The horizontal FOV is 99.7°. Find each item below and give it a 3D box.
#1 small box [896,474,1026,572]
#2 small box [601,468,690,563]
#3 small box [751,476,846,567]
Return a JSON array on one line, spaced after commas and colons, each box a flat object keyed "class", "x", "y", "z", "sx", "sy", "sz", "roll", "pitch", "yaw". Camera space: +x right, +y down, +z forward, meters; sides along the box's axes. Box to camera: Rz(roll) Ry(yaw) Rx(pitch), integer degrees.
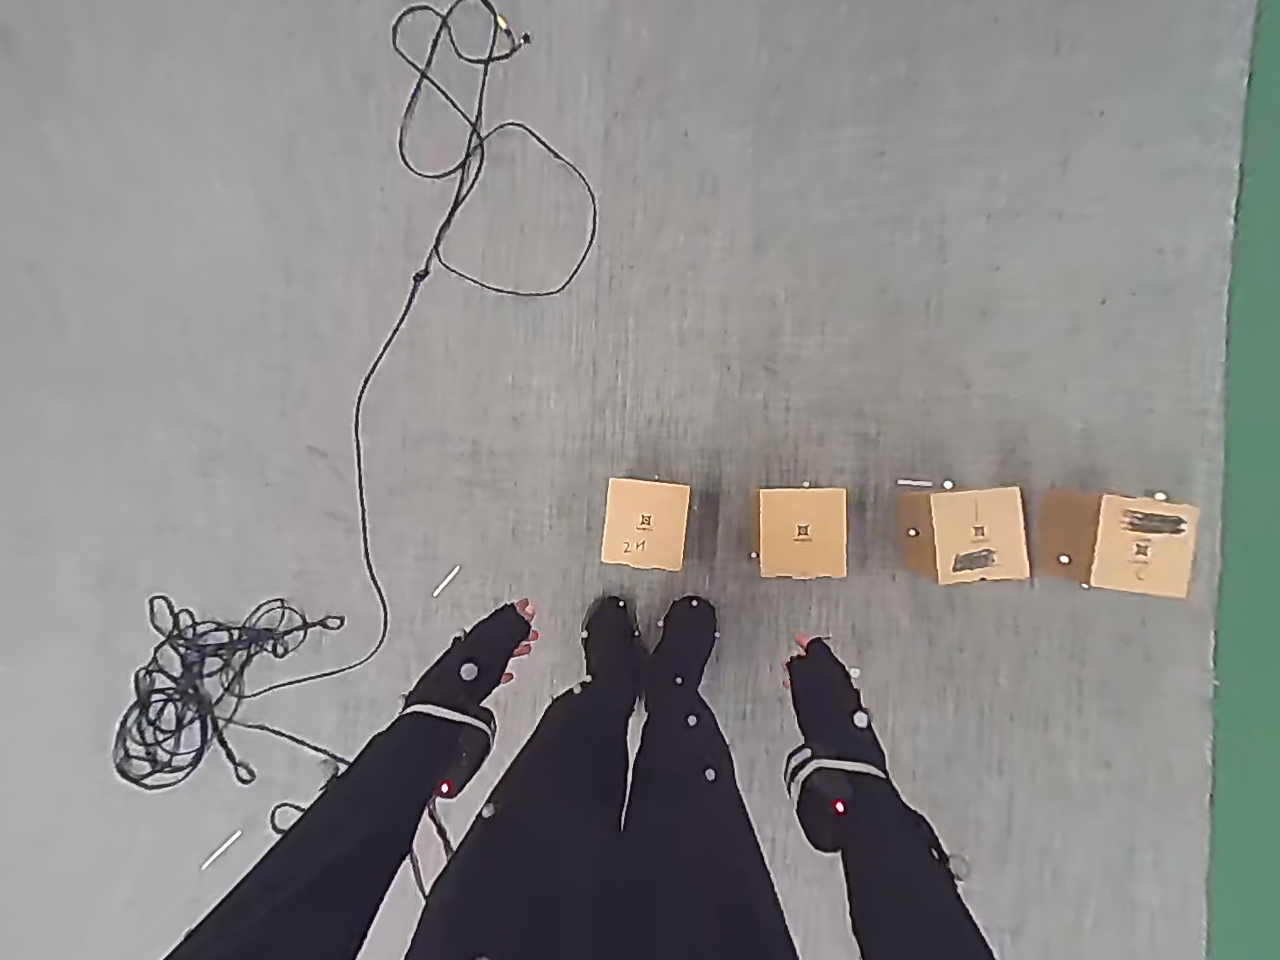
[{"class": "small box", "x": 0.638, "y": 0.081, "z": 1.093, "sx": 0.168, "sy": 0.176, "sz": 0.179, "roll": -6, "pitch": 89, "yaw": 5}, {"class": "small box", "x": 0.018, "y": 0.071, "z": 1.157, "sx": 0.168, "sy": 0.176, "sz": 0.179, "roll": 6, "pitch": 91, "yaw": 7}, {"class": "small box", "x": 0.322, "y": 0.083, "z": 1.126, "sx": 0.168, "sy": 0.176, "sz": 0.179, "roll": -1, "pitch": 90, "yaw": 7}]
